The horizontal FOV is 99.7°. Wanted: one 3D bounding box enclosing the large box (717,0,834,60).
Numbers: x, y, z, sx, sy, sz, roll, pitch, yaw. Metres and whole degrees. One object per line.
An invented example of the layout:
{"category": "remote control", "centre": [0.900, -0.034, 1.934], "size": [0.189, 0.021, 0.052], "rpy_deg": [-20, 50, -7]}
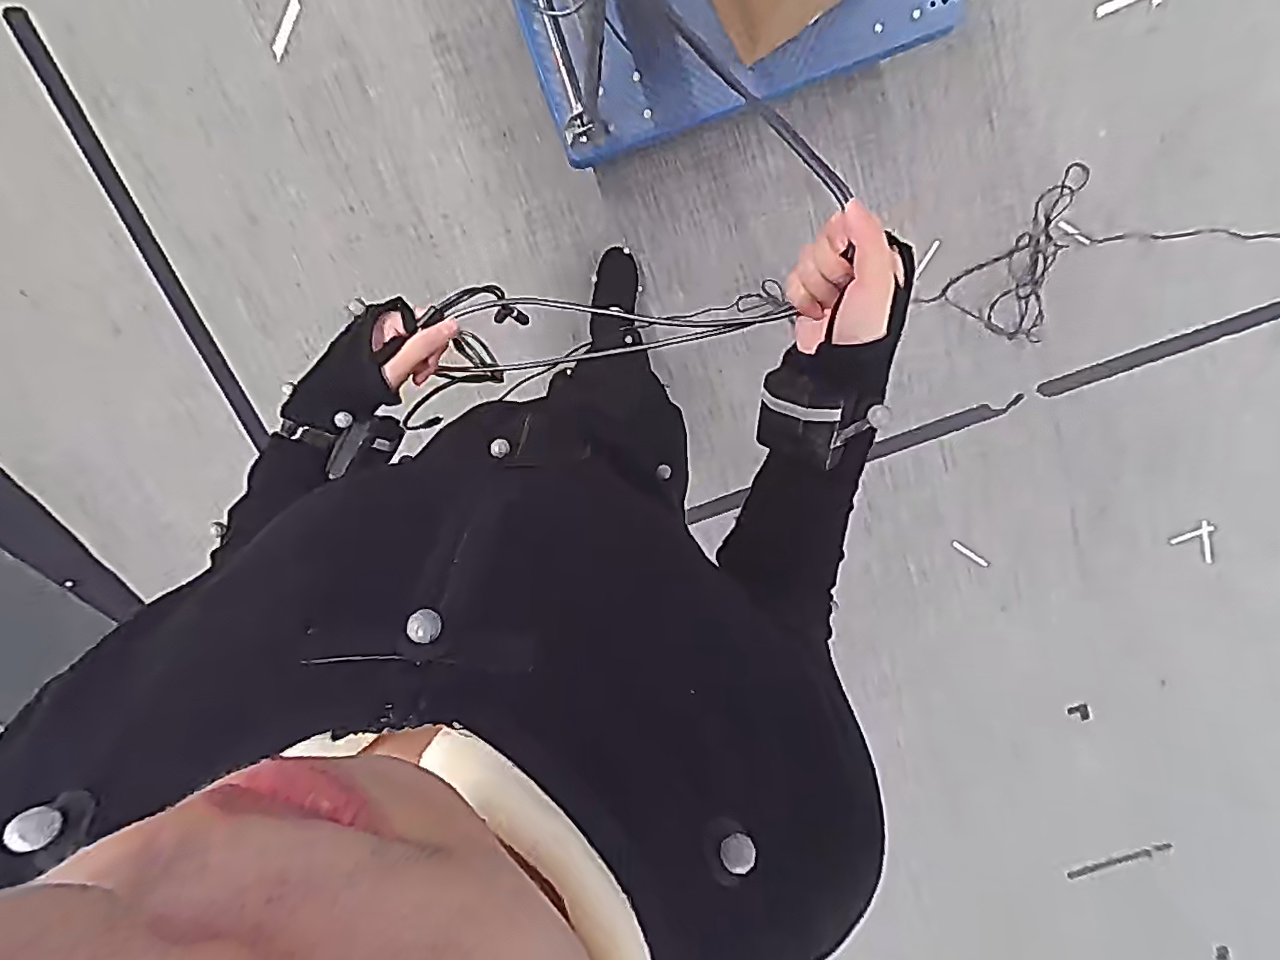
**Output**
{"category": "large box", "centre": [0.244, -1.042, 0.887], "size": [0.320, 0.320, 0.408], "rpy_deg": [-33, 106, 7]}
